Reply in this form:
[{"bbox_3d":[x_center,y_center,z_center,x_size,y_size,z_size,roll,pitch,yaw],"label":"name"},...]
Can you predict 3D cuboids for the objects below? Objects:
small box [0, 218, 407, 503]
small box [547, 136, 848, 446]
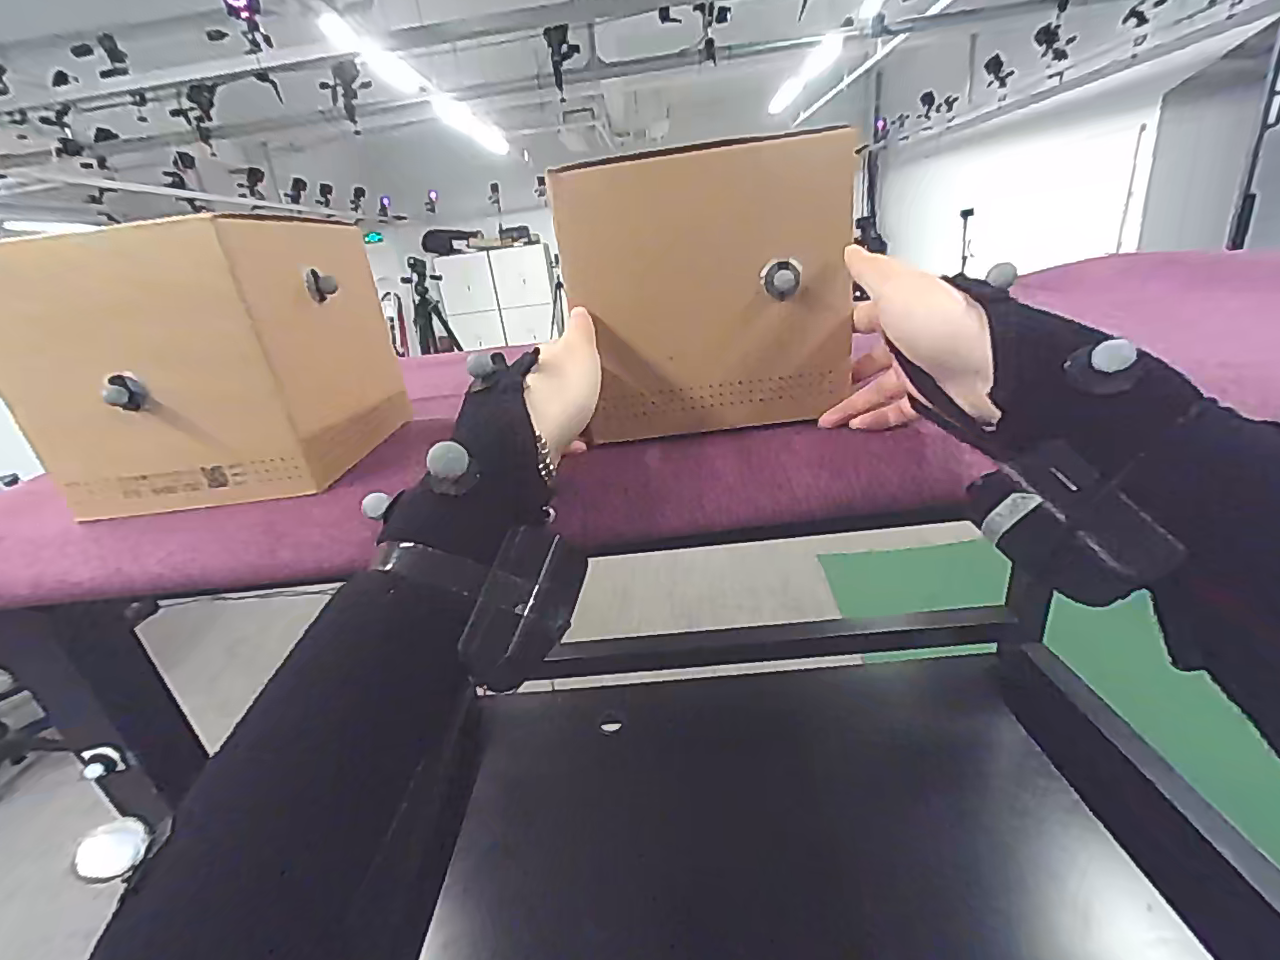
[{"bbox_3d":[-0.299,-0.089,0.403,0.168,0.176,0.179,-6,23,1],"label":"small box"},{"bbox_3d":[0.043,-0.134,0.409,0.179,0.176,0.168,-8,20,3],"label":"small box"}]
